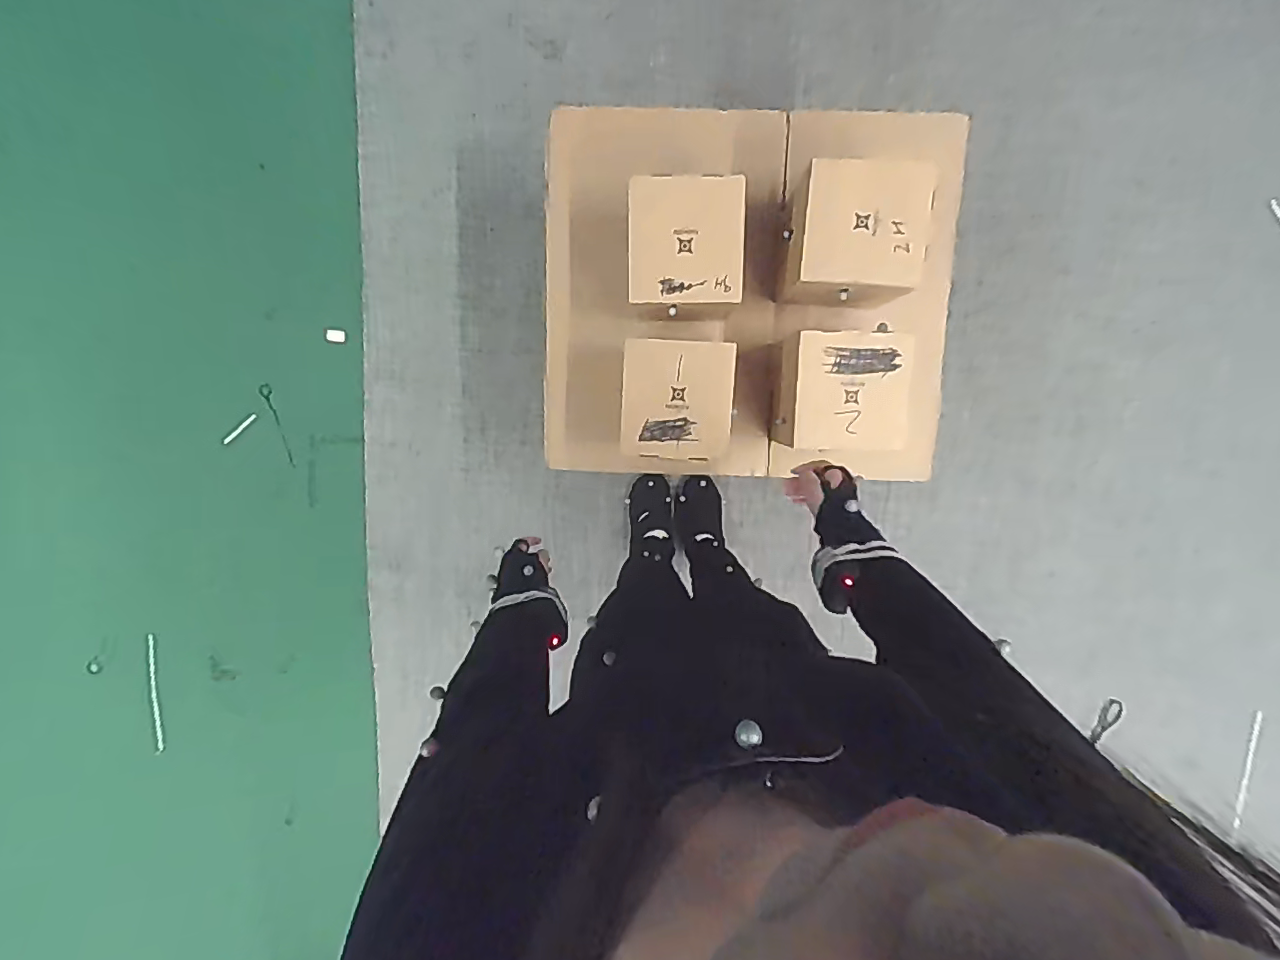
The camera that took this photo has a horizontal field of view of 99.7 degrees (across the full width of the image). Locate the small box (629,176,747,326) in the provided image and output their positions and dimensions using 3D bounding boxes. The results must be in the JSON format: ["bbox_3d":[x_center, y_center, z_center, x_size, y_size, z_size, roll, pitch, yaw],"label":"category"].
[{"bbox_3d":[0.070,-0.346,0.843,0.168,0.176,0.179,1,97,3],"label":"small box"}]
